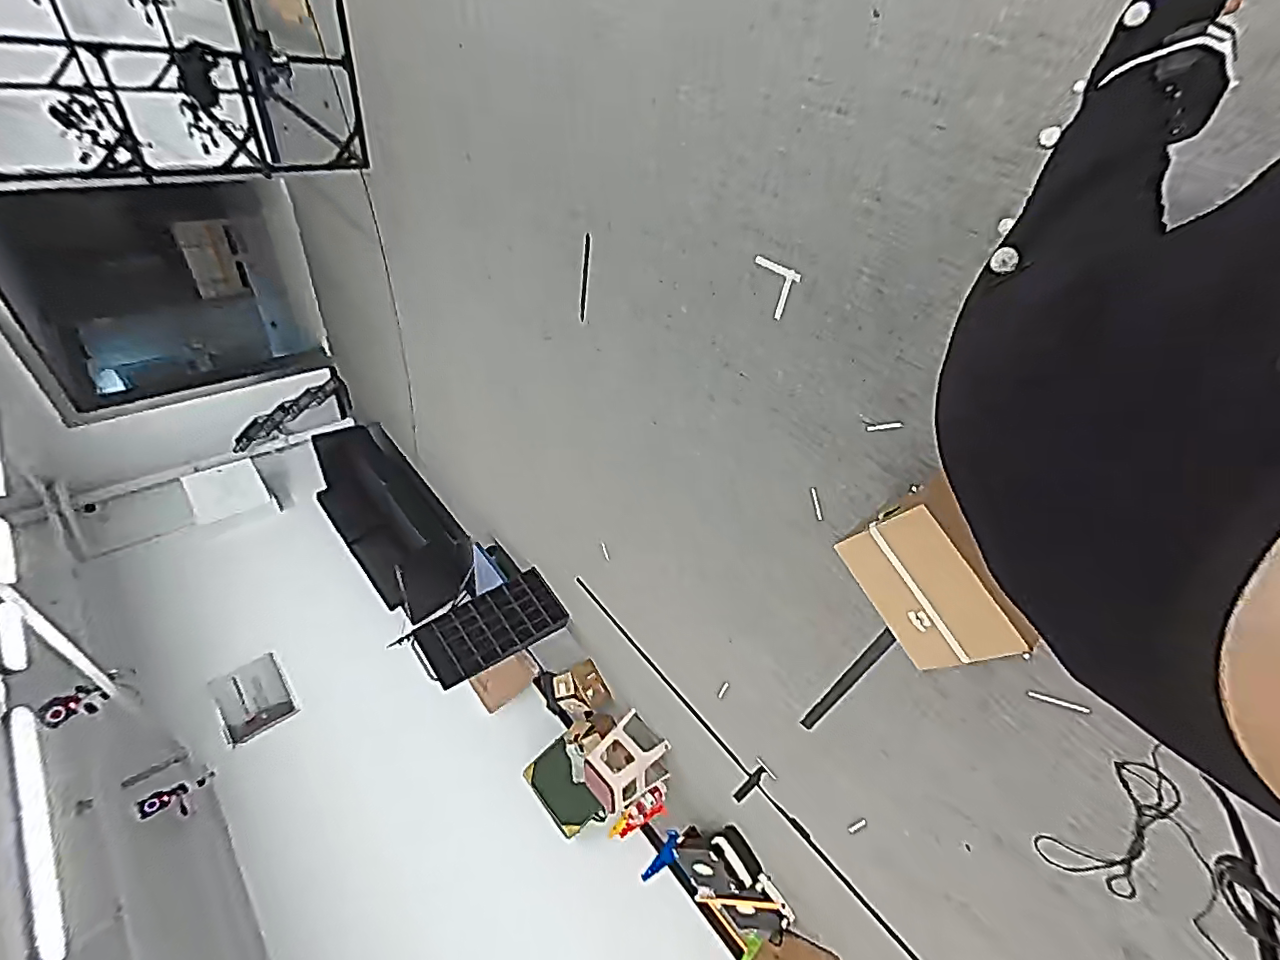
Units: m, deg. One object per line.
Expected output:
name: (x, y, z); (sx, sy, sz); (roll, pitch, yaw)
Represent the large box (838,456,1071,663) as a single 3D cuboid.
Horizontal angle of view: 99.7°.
large box: (0.833, 0.211, 1.451); (0.408, 0.320, 0.320); (57, 145, 9)
